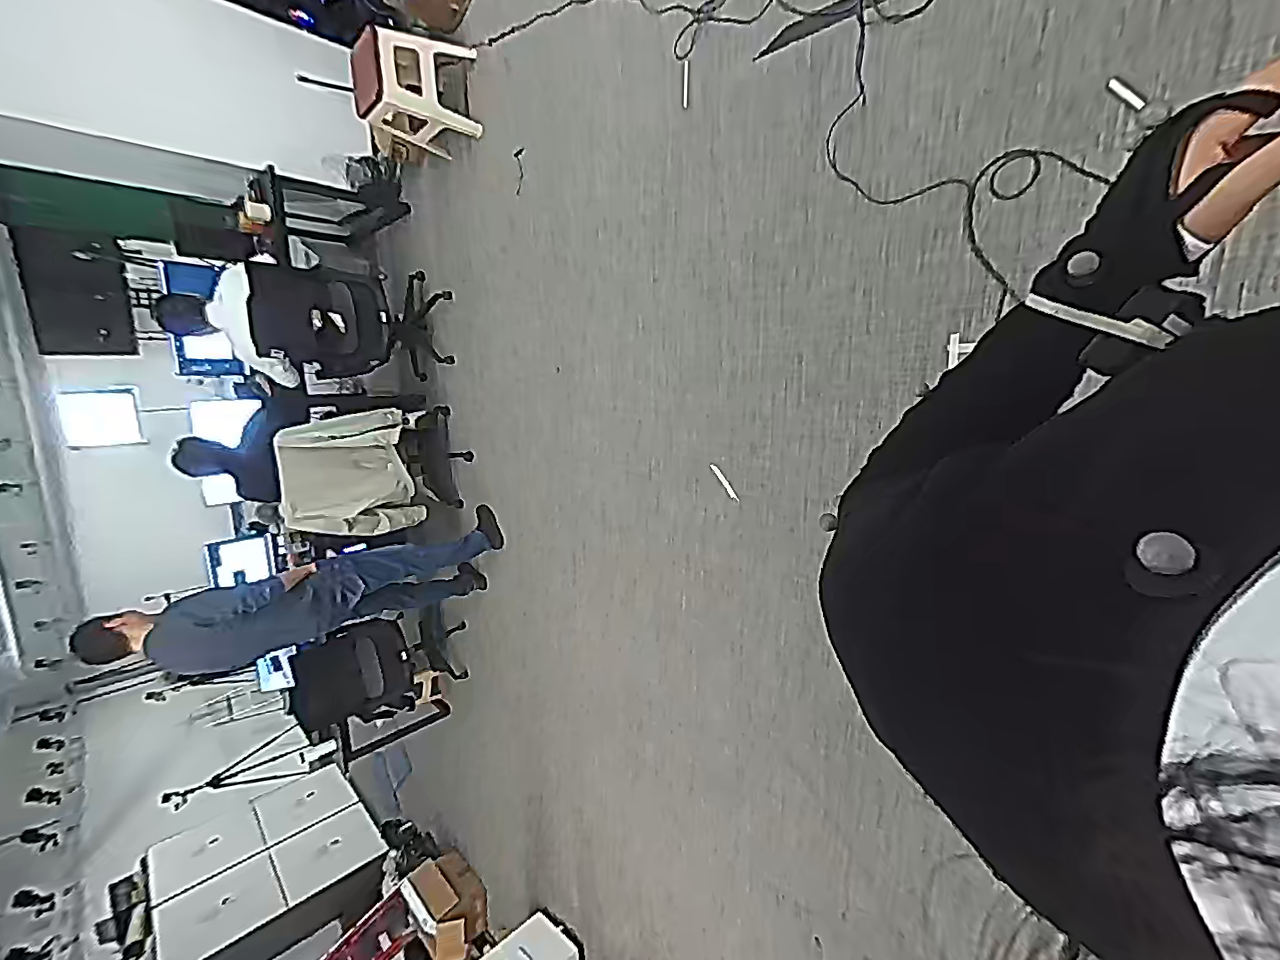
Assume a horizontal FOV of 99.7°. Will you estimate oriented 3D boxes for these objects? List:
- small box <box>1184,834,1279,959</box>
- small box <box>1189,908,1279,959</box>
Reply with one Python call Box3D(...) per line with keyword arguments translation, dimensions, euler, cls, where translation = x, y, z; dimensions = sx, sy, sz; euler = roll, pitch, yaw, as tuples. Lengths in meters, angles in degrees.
Box3D(translation=(0.811, 0.605, 0.678), dimensions=(0.168, 0.176, 0.179), euler=(9, 103, 44), cls="small box")
Box3D(translation=(0.690, 0.616, 0.565), dimensions=(0.168, 0.176, 0.179), euler=(11, 104, 44), cls="small box")
